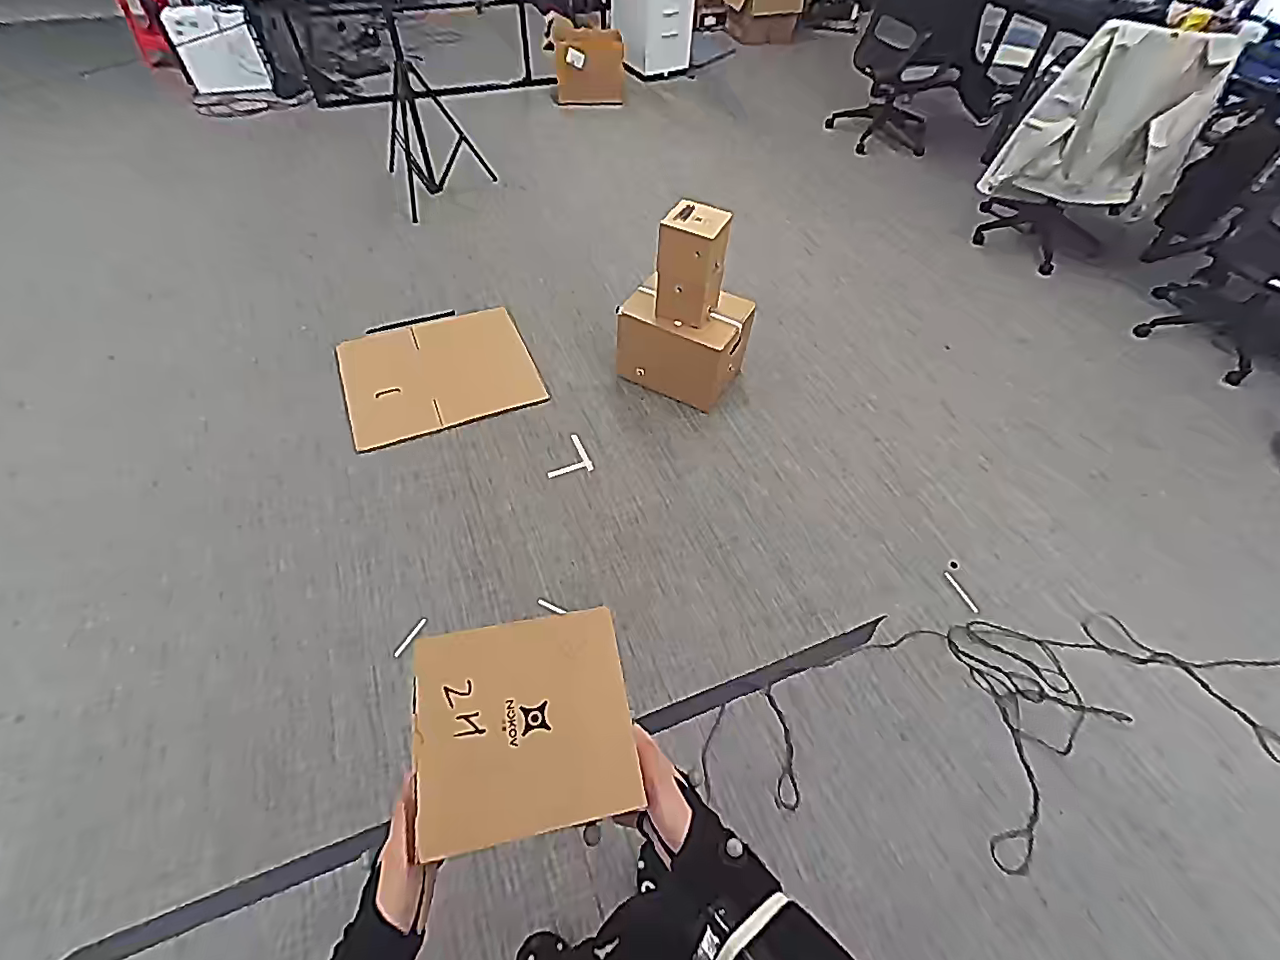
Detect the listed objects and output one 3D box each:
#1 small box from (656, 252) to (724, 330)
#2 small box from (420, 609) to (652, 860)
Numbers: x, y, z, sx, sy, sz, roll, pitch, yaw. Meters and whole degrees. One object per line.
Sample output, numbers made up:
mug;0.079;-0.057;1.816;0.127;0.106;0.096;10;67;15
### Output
small box;0.166;-0.642;1.846;0.179;0.176;0.168;24;57;13
small box;-0.099;0.238;0.512;0.179;0.176;0.168;-7;59;-11
